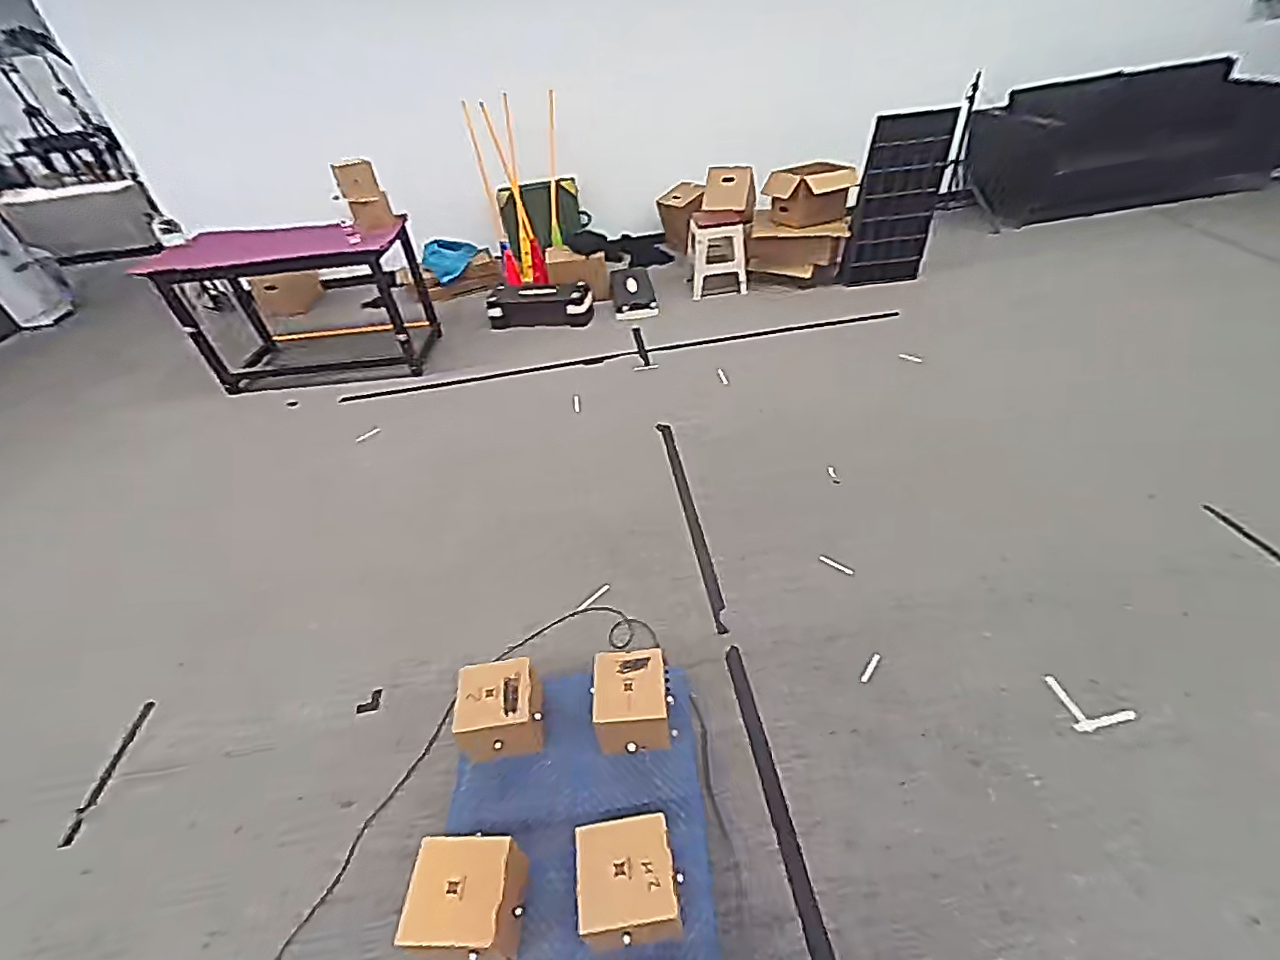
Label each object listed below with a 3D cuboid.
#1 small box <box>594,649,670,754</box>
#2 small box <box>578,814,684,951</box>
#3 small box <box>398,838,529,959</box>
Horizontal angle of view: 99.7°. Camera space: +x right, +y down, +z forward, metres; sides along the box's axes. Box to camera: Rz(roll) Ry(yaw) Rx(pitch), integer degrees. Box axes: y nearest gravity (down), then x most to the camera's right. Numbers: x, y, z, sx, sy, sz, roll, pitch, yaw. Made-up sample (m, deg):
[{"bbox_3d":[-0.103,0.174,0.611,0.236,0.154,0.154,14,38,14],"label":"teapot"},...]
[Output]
[{"bbox_3d":[-0.017,0.537,1.310,0.168,0.176,0.179,-5,42,1],"label":"small box"},{"bbox_3d":[-0.017,0.772,1.036,0.179,0.176,0.168,-9,41,-2],"label":"small box"},{"bbox_3d":[-0.325,0.808,1.036,0.179,0.176,0.168,-2,40,2],"label":"small box"}]
